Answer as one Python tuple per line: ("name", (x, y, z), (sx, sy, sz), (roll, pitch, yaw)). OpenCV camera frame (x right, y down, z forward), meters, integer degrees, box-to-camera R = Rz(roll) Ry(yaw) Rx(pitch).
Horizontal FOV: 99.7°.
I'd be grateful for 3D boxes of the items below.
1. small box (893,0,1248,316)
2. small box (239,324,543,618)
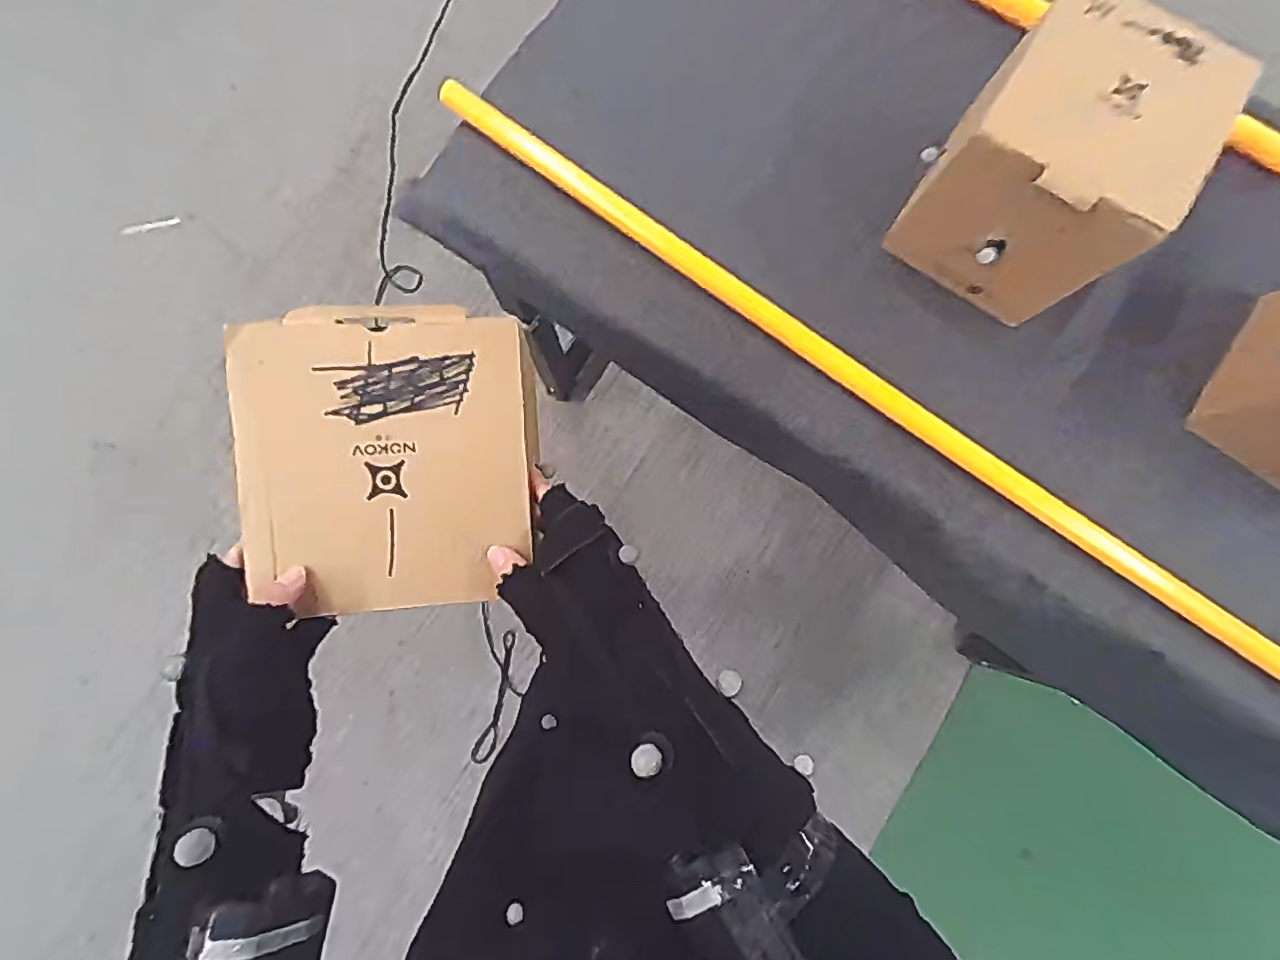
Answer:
("small box", (0.368, -0.286, 0.502), (0.168, 0.176, 0.179), (30, 83, 4))
("small box", (-0.163, -0.008, 0.410), (0.168, 0.176, 0.179), (-4, 92, -8))
